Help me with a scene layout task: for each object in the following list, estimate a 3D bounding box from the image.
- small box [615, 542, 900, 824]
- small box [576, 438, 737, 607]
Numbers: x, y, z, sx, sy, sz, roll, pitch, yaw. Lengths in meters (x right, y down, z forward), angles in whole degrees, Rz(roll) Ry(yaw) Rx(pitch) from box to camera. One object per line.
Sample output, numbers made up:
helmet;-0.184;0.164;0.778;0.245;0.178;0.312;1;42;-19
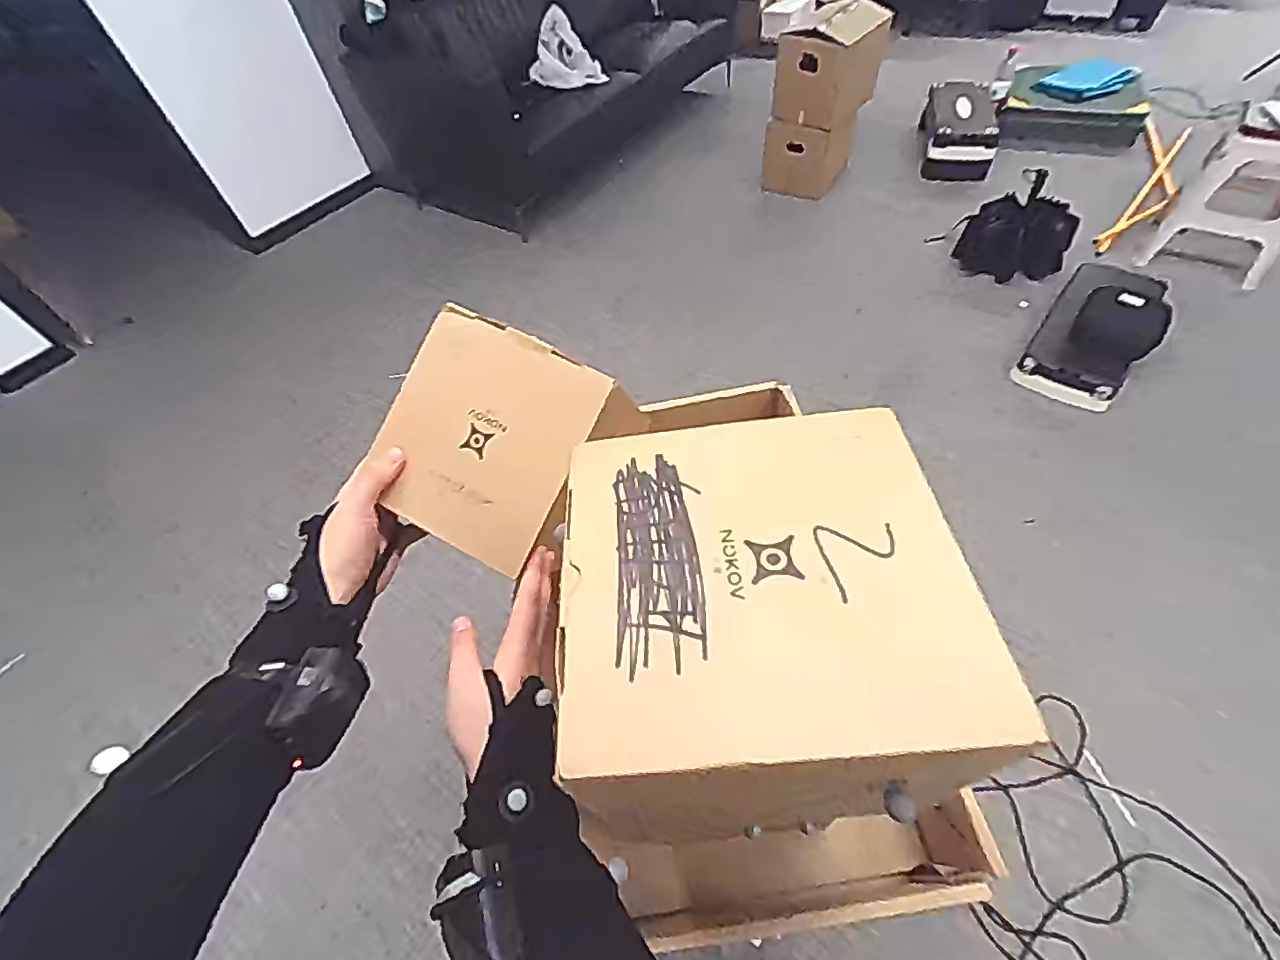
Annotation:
small box;0.081;0.174;0.450;0.179;0.176;0.168;-9;51;3
small box;0.024;0.078;0.739;0.168;0.176;0.179;-17;54;-5
